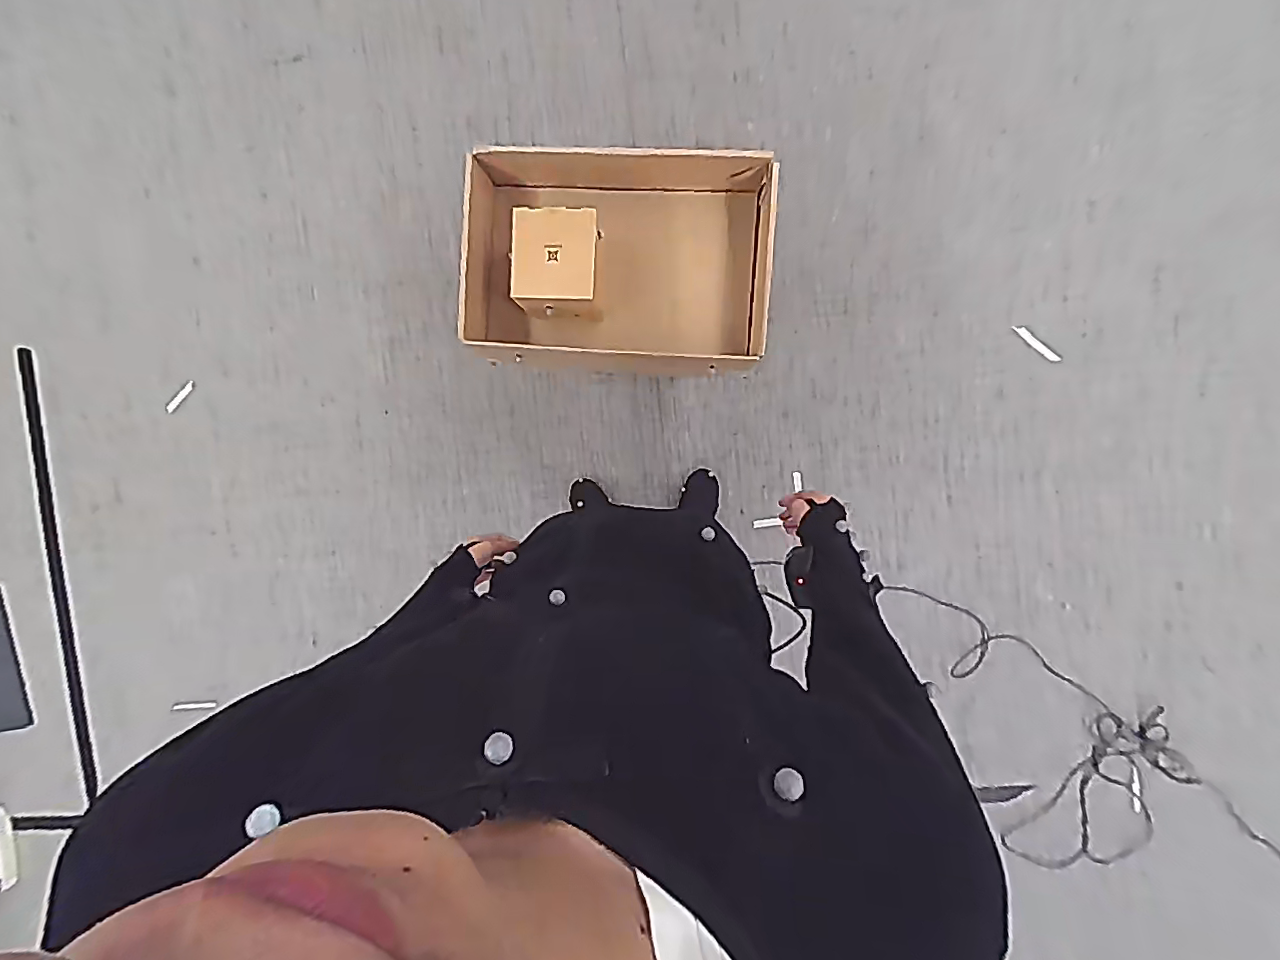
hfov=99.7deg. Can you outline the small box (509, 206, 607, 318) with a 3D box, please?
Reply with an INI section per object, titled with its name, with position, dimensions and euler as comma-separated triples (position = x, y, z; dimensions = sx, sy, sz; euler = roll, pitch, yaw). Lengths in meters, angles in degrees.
[small box]
position = -0.162, -0.441, 1.115
dimensions = 0.168, 0.176, 0.179
euler = 2, 92, 4
